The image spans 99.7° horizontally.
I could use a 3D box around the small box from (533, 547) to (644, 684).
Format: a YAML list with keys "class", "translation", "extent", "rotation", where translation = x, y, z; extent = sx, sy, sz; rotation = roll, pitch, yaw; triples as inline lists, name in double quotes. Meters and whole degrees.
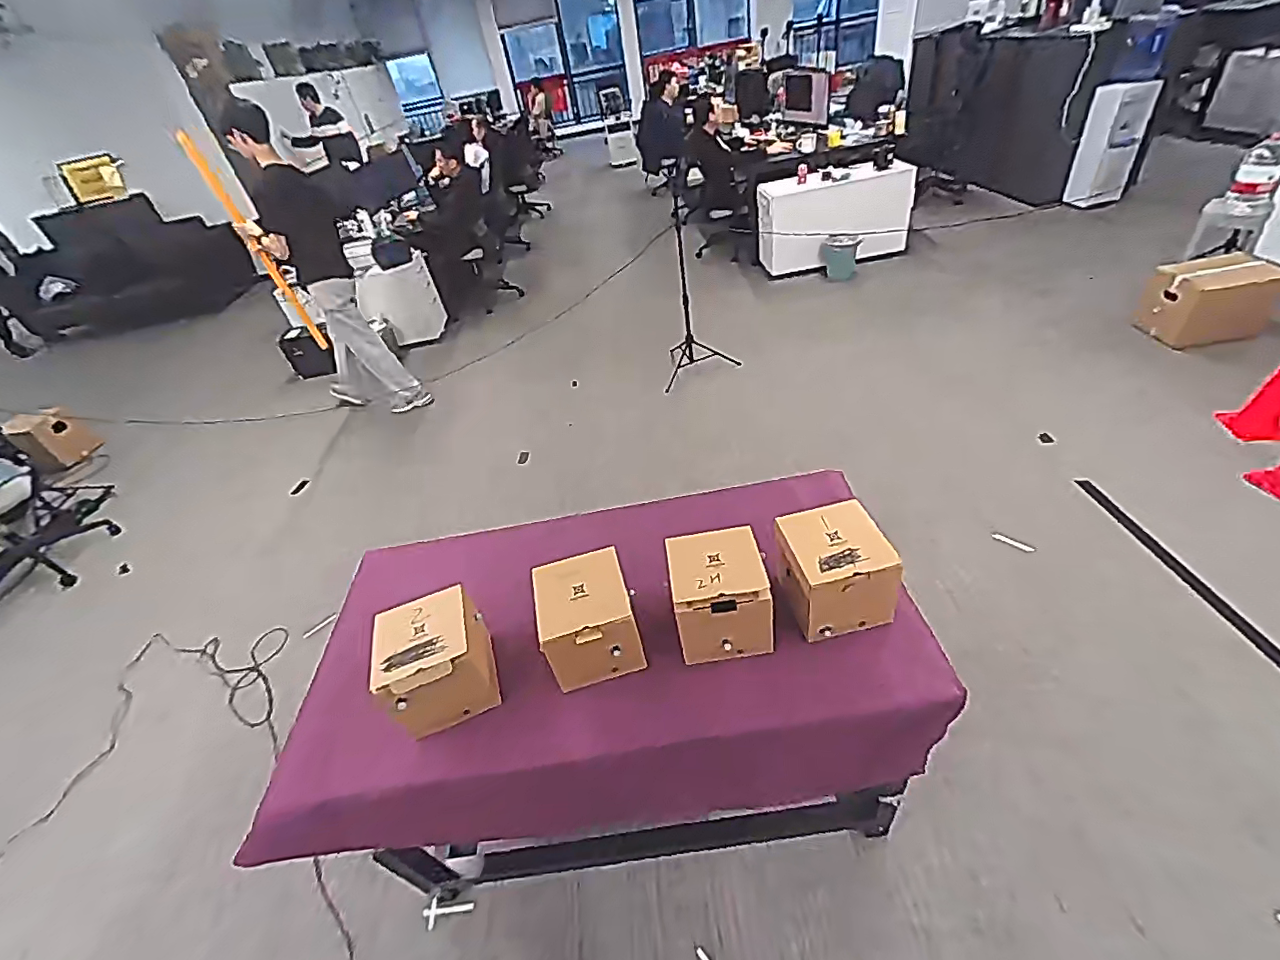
- class: "small box"
  translation: [-0.097, 0.262, 1.027]
  extent: [0.168, 0.176, 0.179]
  rotation: [-15, 39, -5]

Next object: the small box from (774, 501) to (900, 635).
- class: "small box"
  translation: [0.361, 0.171, 1.020]
  extent: [0.168, 0.176, 0.179]
  rotation: [-13, 38, -1]

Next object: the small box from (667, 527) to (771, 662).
- class: "small box"
  translation: [0.146, 0.216, 1.019]
  extent: [0.168, 0.176, 0.179]
  rotation: [-9, 39, 3]
